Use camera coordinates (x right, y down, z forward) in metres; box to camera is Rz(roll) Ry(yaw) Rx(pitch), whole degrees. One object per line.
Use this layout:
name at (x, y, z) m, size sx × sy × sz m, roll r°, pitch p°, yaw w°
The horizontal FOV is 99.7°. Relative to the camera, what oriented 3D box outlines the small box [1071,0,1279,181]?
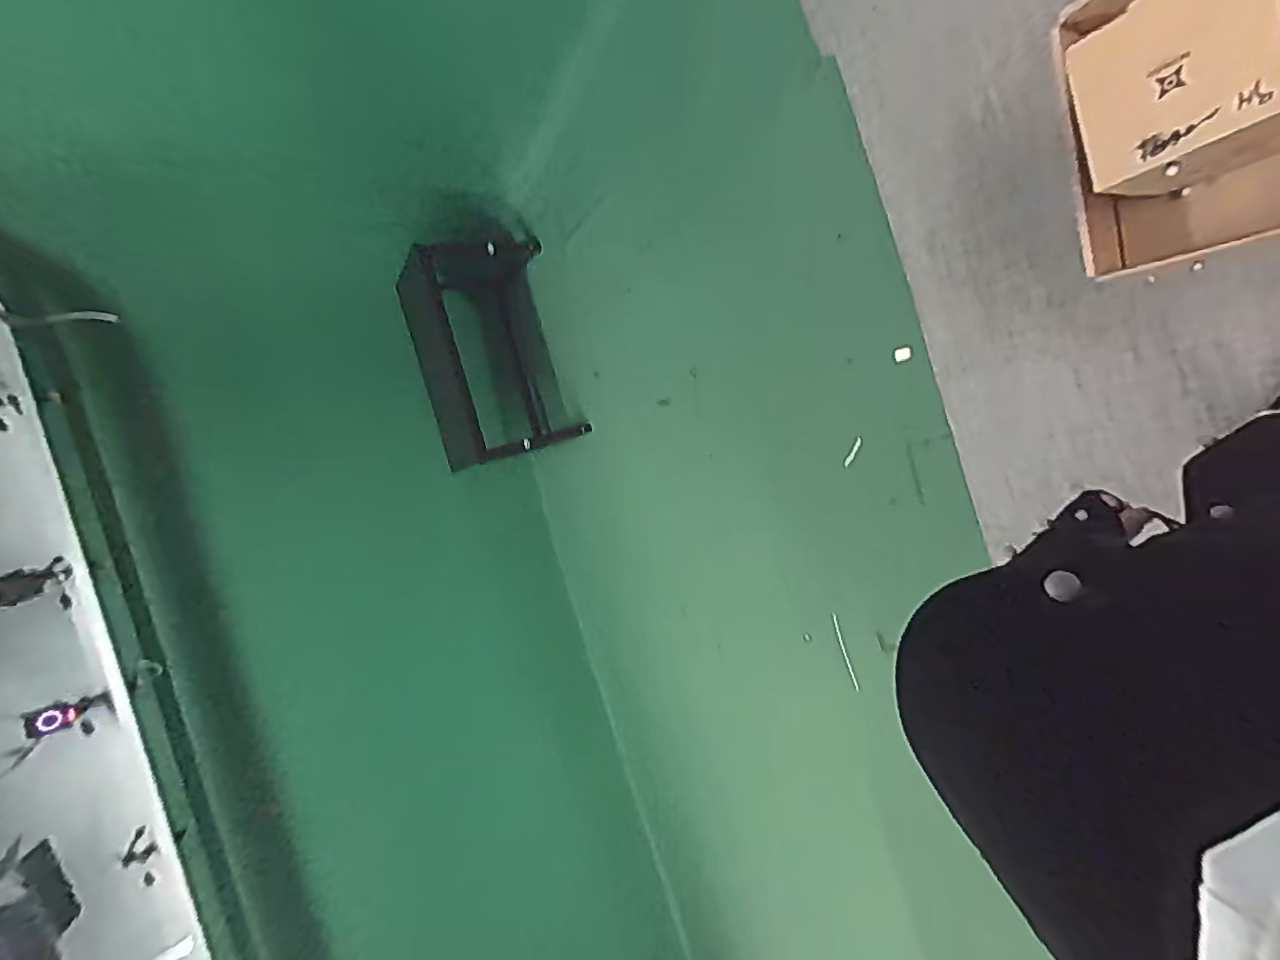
small box at (0.655, -0.480, 0.640) m, size 0.168 × 0.176 × 0.179 m, roll -8°, pitch 98°, yaw 60°
